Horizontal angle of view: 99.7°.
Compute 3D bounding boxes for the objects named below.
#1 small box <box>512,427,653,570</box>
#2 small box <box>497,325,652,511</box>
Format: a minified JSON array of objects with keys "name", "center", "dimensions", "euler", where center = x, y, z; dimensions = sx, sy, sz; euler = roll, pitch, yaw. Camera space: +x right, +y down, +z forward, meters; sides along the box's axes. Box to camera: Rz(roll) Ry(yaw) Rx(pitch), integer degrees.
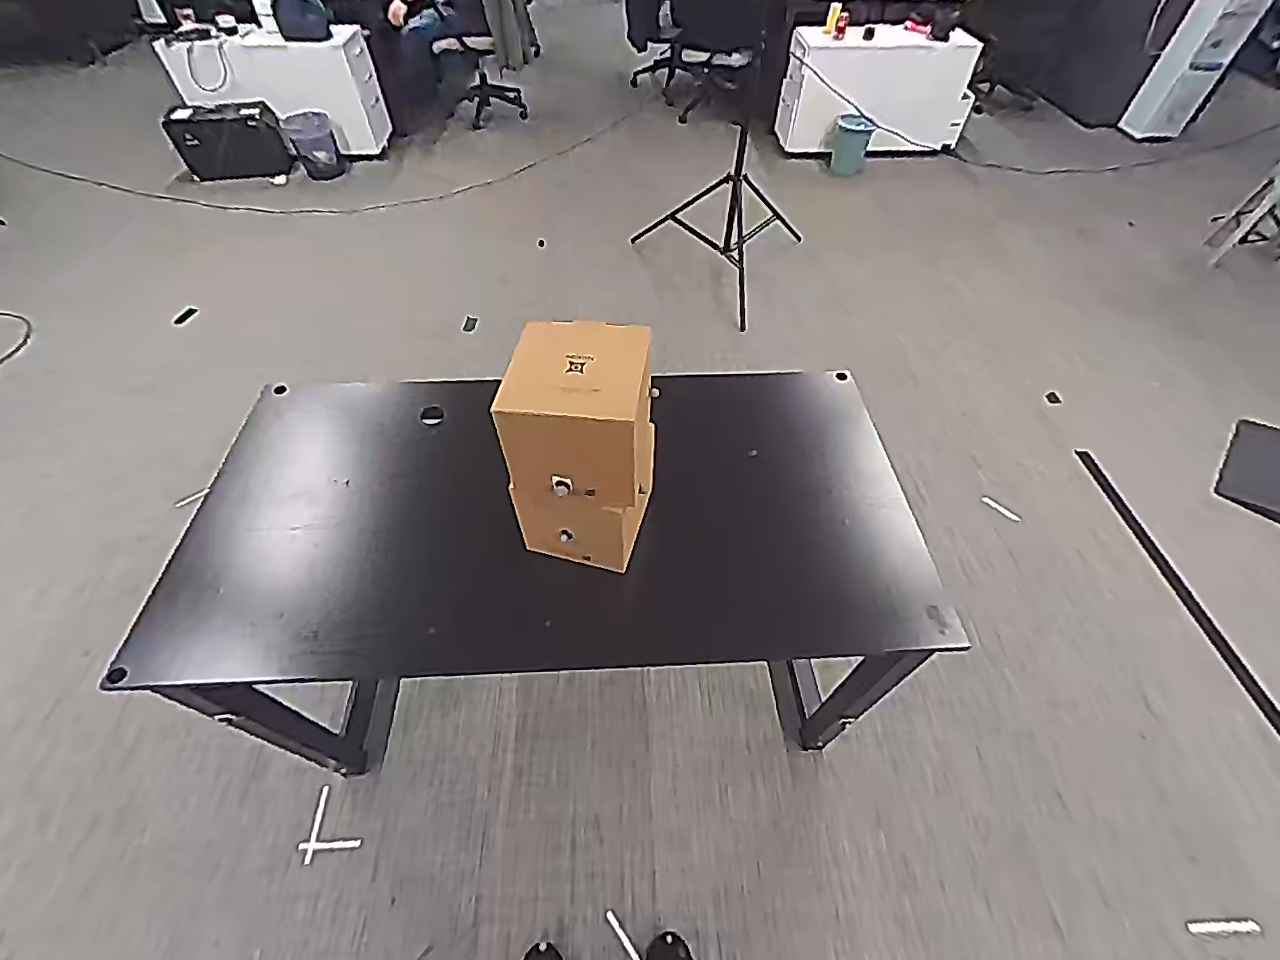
[{"name":"small box","center":[-0.080,0.018,0.853],"dimensions":[0.168,0.176,0.179],"euler":[13,52,9]},{"name":"small box","center":[-0.074,-0.082,0.725],"dimensions":[0.168,0.176,0.179],"euler":[4,52,4]}]
